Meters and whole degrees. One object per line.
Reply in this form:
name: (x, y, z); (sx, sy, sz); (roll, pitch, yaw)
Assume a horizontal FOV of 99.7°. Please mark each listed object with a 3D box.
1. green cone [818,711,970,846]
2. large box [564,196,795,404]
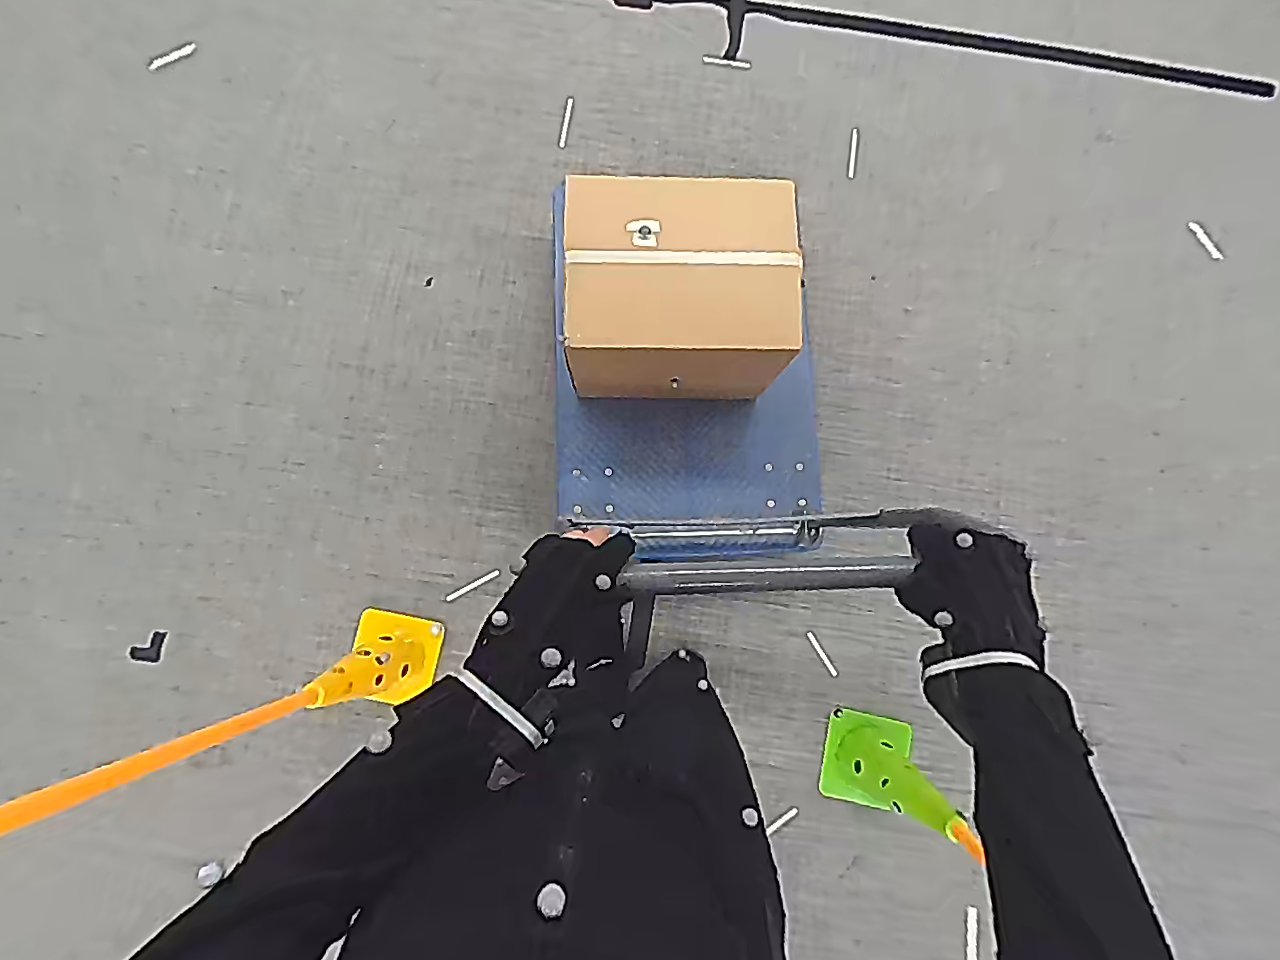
green cone: (0.537, 0.640, 1.108); (0.202, 0.368, 0.200); (13, 81, -1)
large box: (0.067, -0.336, 1.092); (0.408, 0.320, 0.320); (0, 83, -1)
